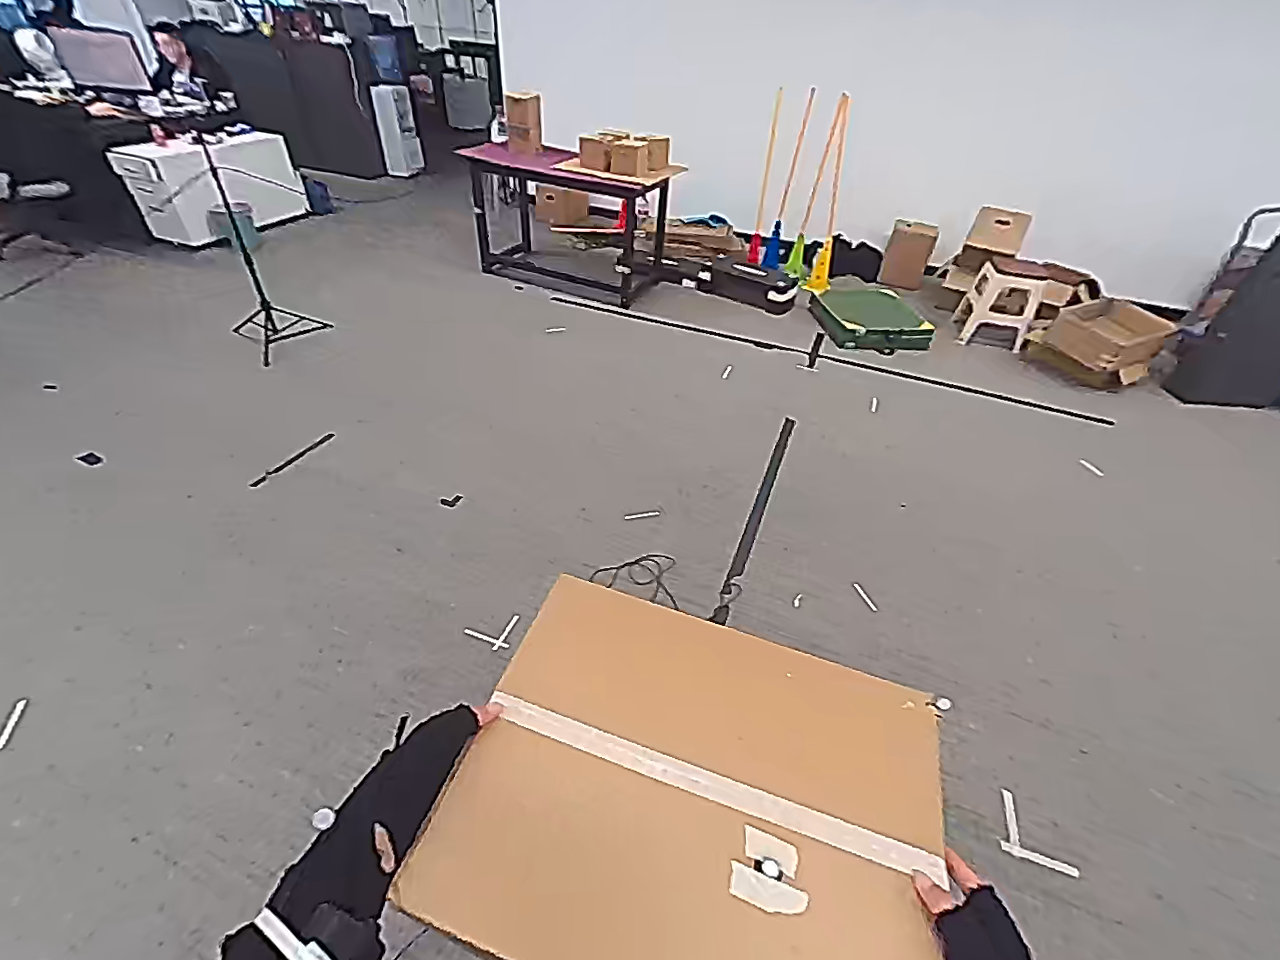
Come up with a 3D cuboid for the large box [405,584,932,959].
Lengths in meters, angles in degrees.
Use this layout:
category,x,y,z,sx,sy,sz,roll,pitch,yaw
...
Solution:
category,x,y,z,sx,sy,sz,roll,pitch,yaw
large box,0.039,0.373,0.586,0.408,0.320,0.320,17,46,10
